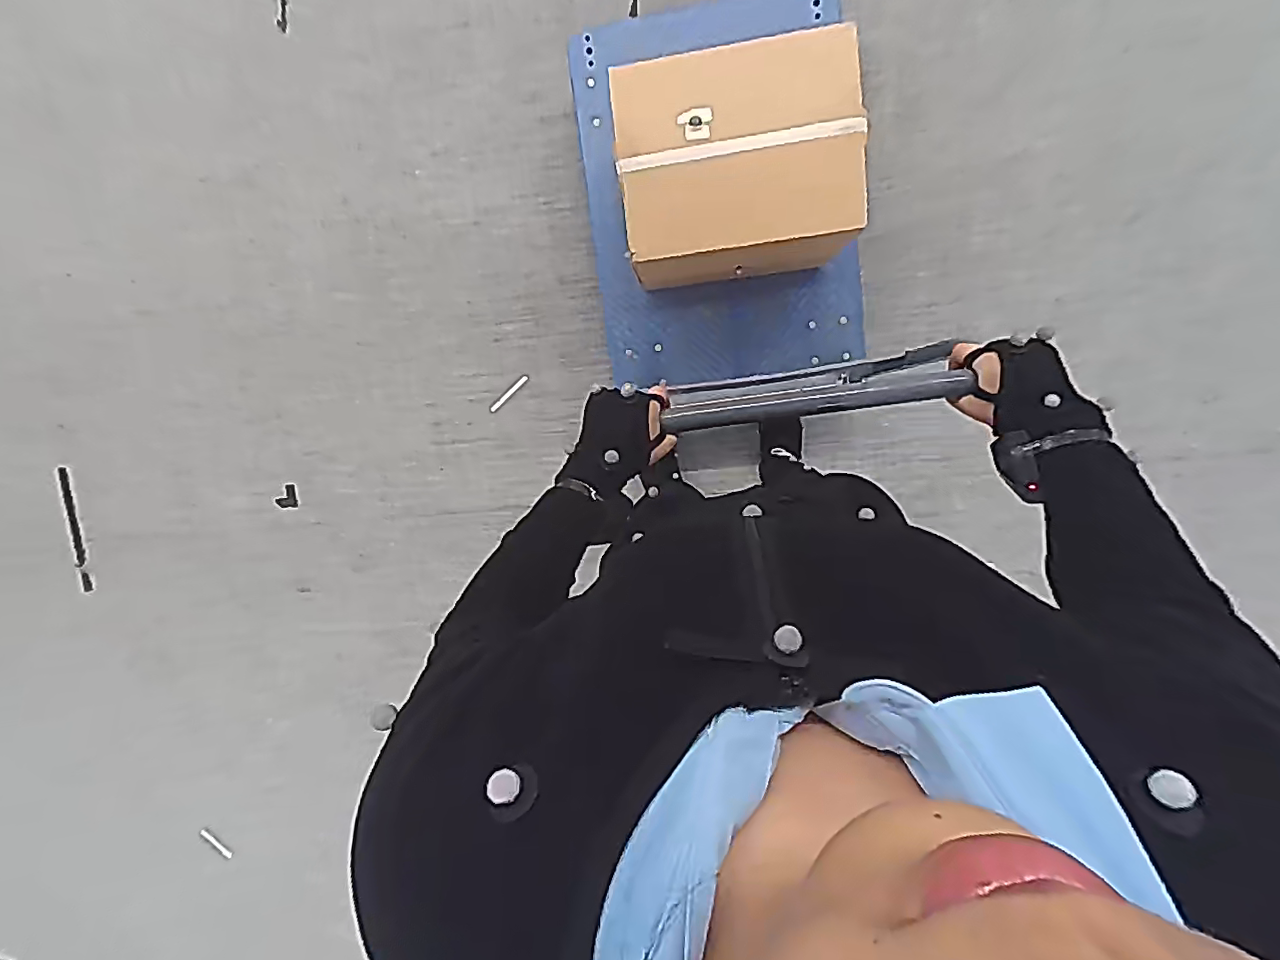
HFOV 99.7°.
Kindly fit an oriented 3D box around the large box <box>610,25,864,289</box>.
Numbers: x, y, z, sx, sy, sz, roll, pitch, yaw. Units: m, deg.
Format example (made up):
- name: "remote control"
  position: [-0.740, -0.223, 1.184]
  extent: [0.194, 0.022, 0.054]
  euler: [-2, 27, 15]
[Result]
- name: "large box"
  position: [0.181, -0.586, 1.063]
  extent: [0.408, 0.320, 0.320]
  euler: [-7, 98, 7]
